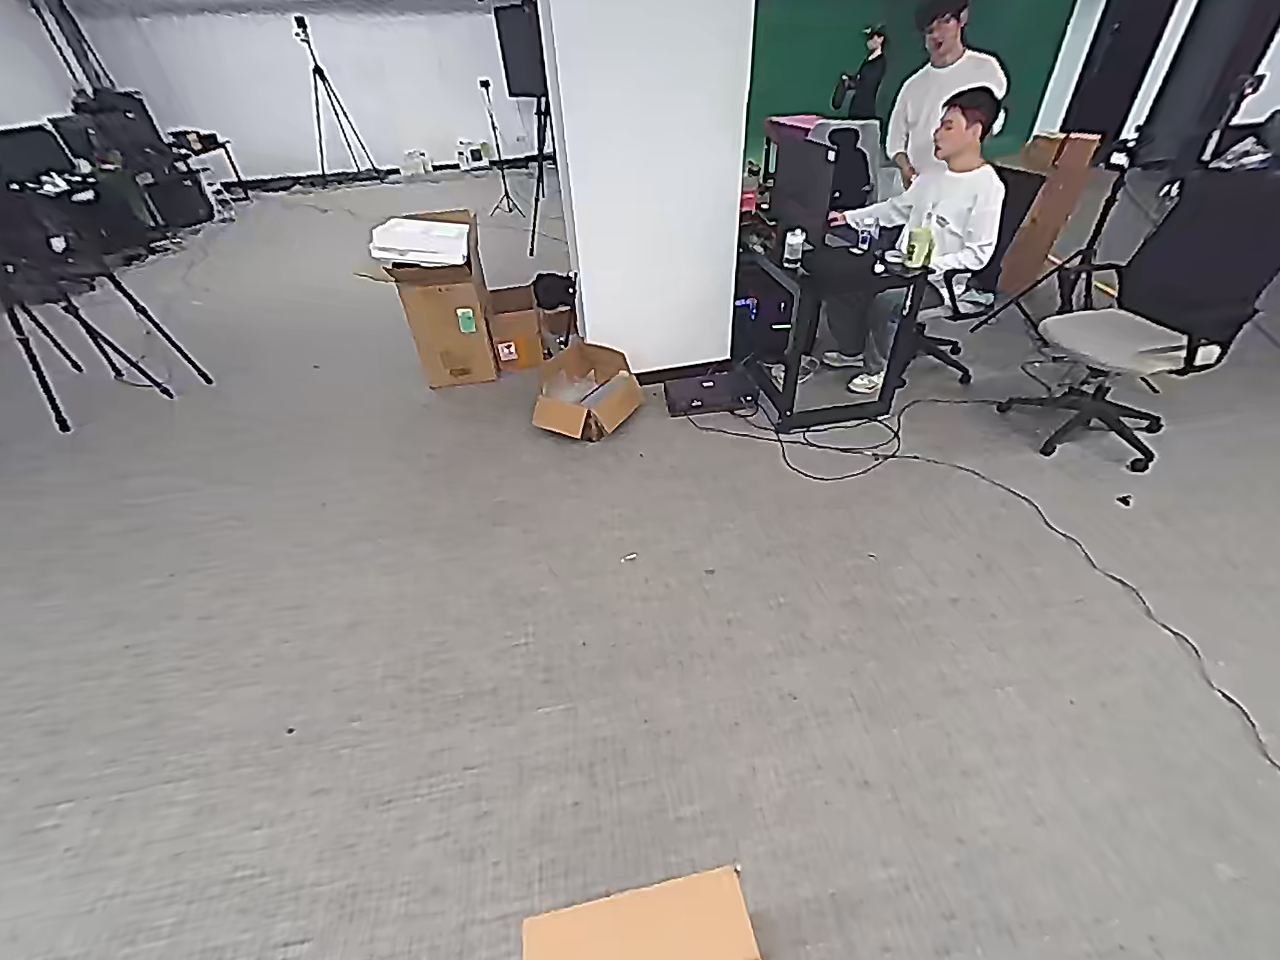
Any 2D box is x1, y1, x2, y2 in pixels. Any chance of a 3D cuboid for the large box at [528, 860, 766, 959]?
[{"bbox_3d":[0.028,0.971,0.982,0.408,0.320,0.320,-9,39,-8],"label":"large box"}]
